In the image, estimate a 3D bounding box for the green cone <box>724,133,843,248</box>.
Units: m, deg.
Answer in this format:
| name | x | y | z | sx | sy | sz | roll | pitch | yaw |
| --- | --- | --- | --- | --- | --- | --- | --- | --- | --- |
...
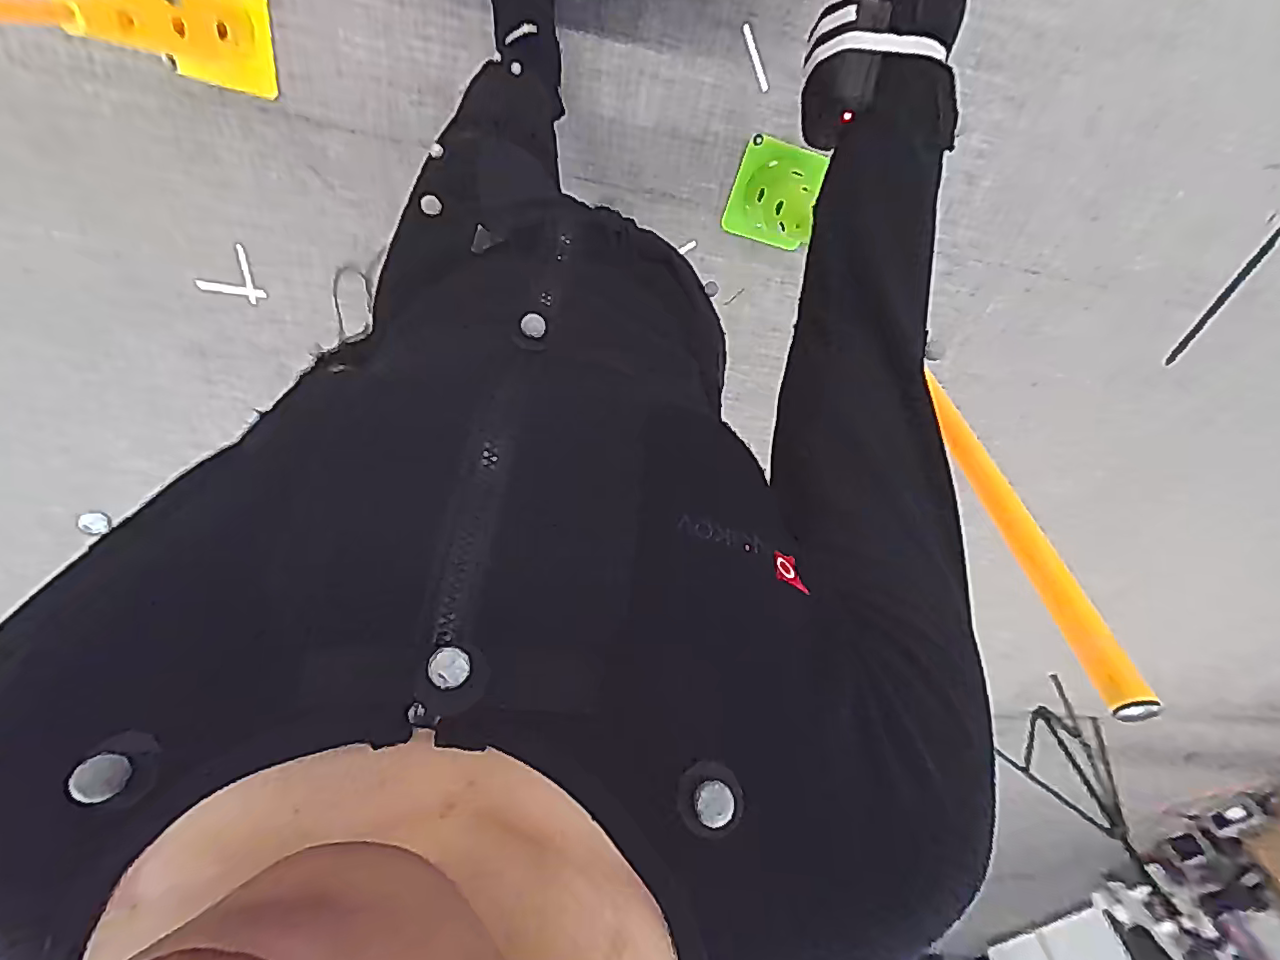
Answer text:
| name | x | y | z | sx | sy | sz | roll | pitch | yaw |
| --- | --- | --- | --- | --- | --- | --- | --- | --- | --- |
| green cone | 0.319 | -0.537 | 1.085 | 0.202 | 0.368 | 0.200 | 10 | 128 | -12 |
